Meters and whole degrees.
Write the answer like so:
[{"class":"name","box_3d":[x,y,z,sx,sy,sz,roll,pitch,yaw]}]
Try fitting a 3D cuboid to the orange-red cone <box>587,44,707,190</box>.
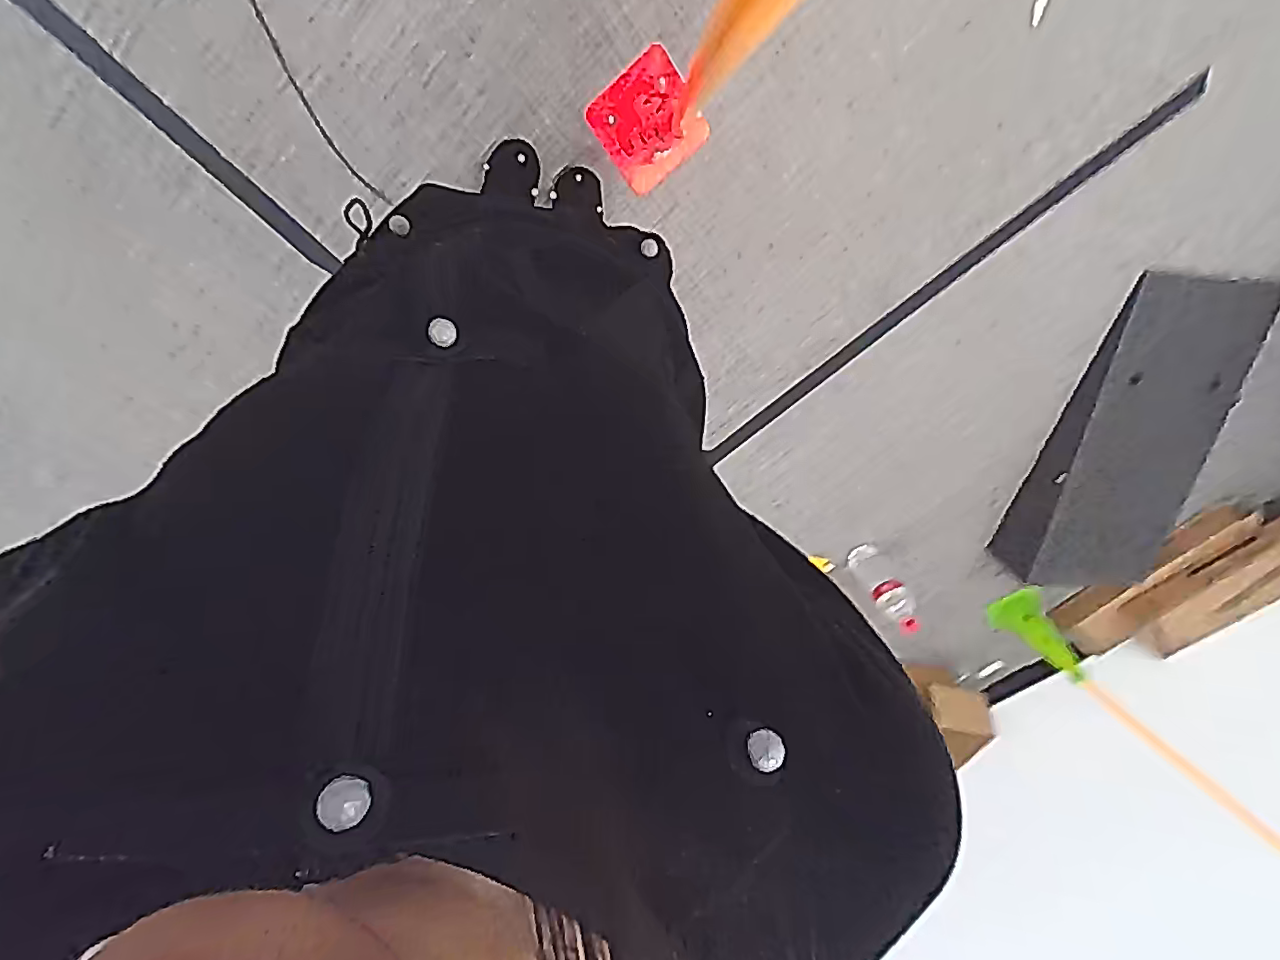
[{"class":"orange-red cone","box_3d":[0.039,-0.643,0.970,0.198,0.360,0.199,-34,122,14]}]
